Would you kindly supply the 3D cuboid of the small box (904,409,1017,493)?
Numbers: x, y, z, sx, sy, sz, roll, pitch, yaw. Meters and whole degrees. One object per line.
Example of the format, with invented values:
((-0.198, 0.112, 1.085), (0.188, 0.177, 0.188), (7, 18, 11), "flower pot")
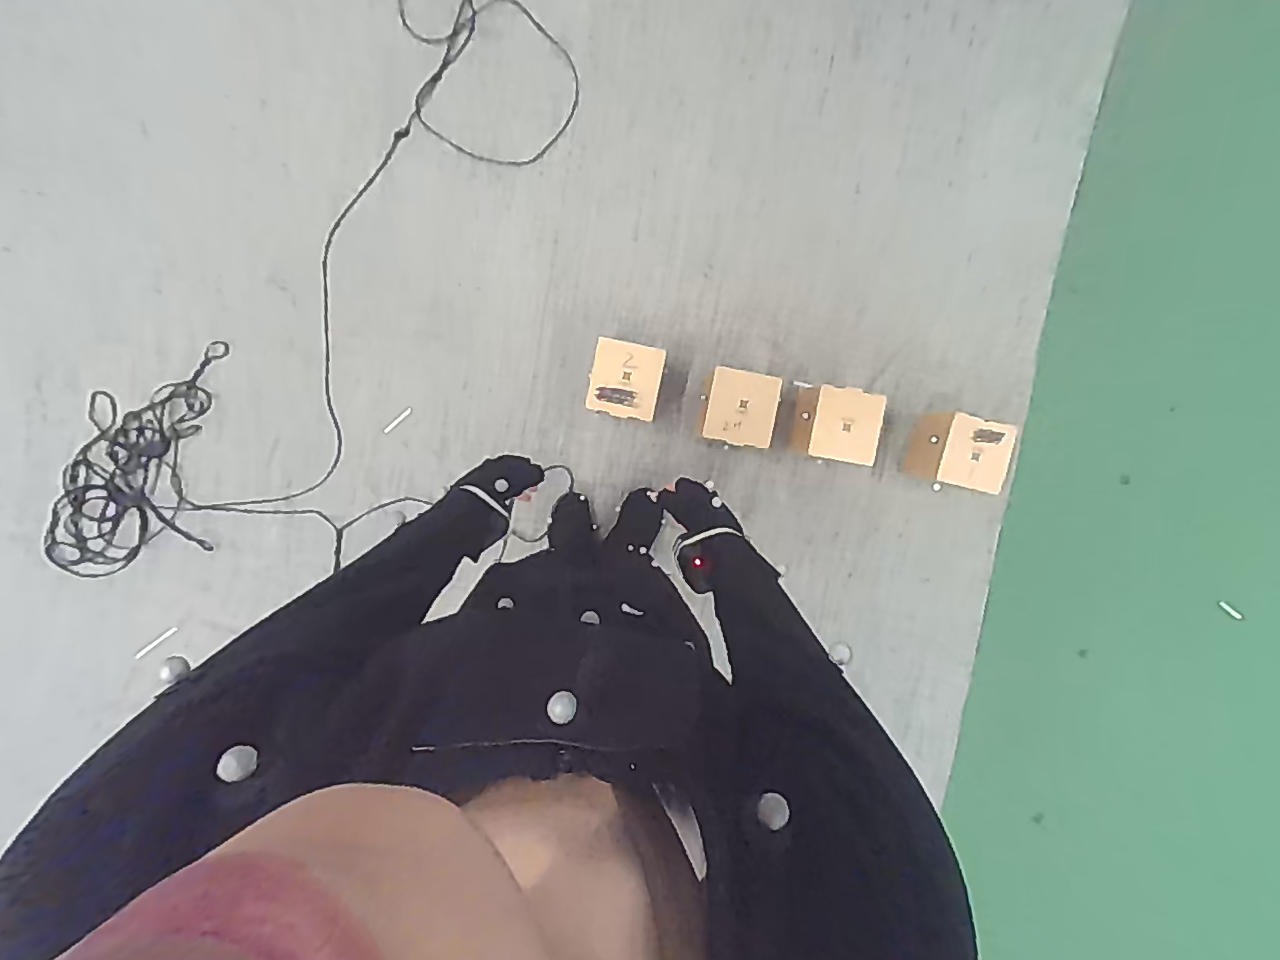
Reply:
((0.811, -0.075, 1.387), (0.168, 0.176, 0.179), (14, 94, -2), "small box")

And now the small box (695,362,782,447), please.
((0.240, -0.182, 1.360), (0.168, 0.176, 0.179), (11, 93, -2), "small box")

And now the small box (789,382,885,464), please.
((0.491, -0.141, 1.374), (0.168, 0.176, 0.179), (10, 93, -3), "small box")
